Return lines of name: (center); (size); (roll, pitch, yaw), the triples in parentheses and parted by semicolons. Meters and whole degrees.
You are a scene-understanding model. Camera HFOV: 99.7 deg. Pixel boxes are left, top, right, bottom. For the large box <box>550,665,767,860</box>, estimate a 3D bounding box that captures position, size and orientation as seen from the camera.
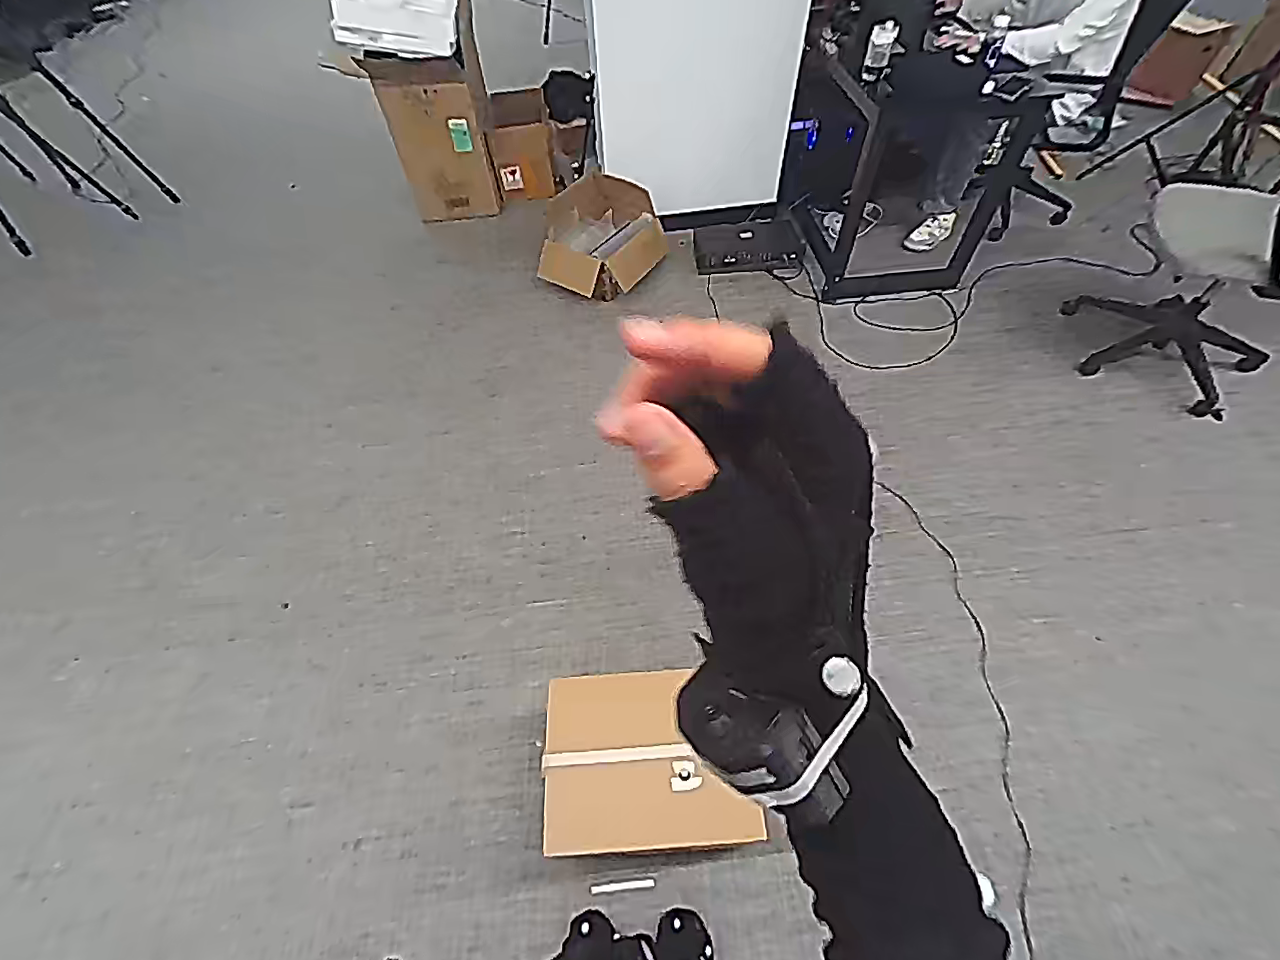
large box: (0.028, 0.622, 1.181); (0.408, 0.320, 0.320); (-4, 54, 0)
